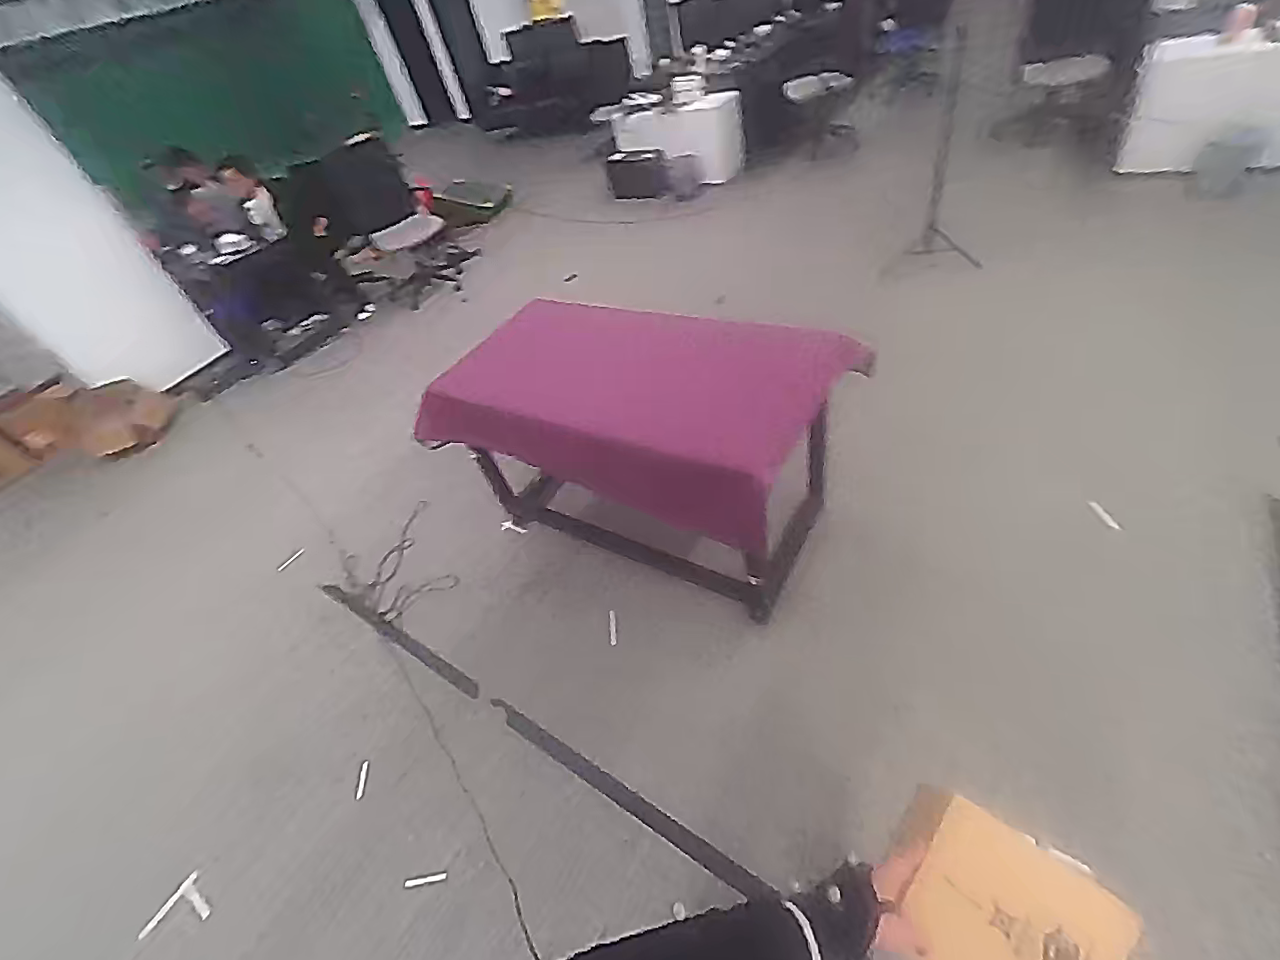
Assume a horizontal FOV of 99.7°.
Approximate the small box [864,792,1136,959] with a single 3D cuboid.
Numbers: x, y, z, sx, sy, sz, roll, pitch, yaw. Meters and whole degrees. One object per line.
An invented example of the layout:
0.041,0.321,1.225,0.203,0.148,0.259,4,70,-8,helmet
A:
0.374,0.474,0.598,0.179,0.176,0.168,29,75,25,small box
